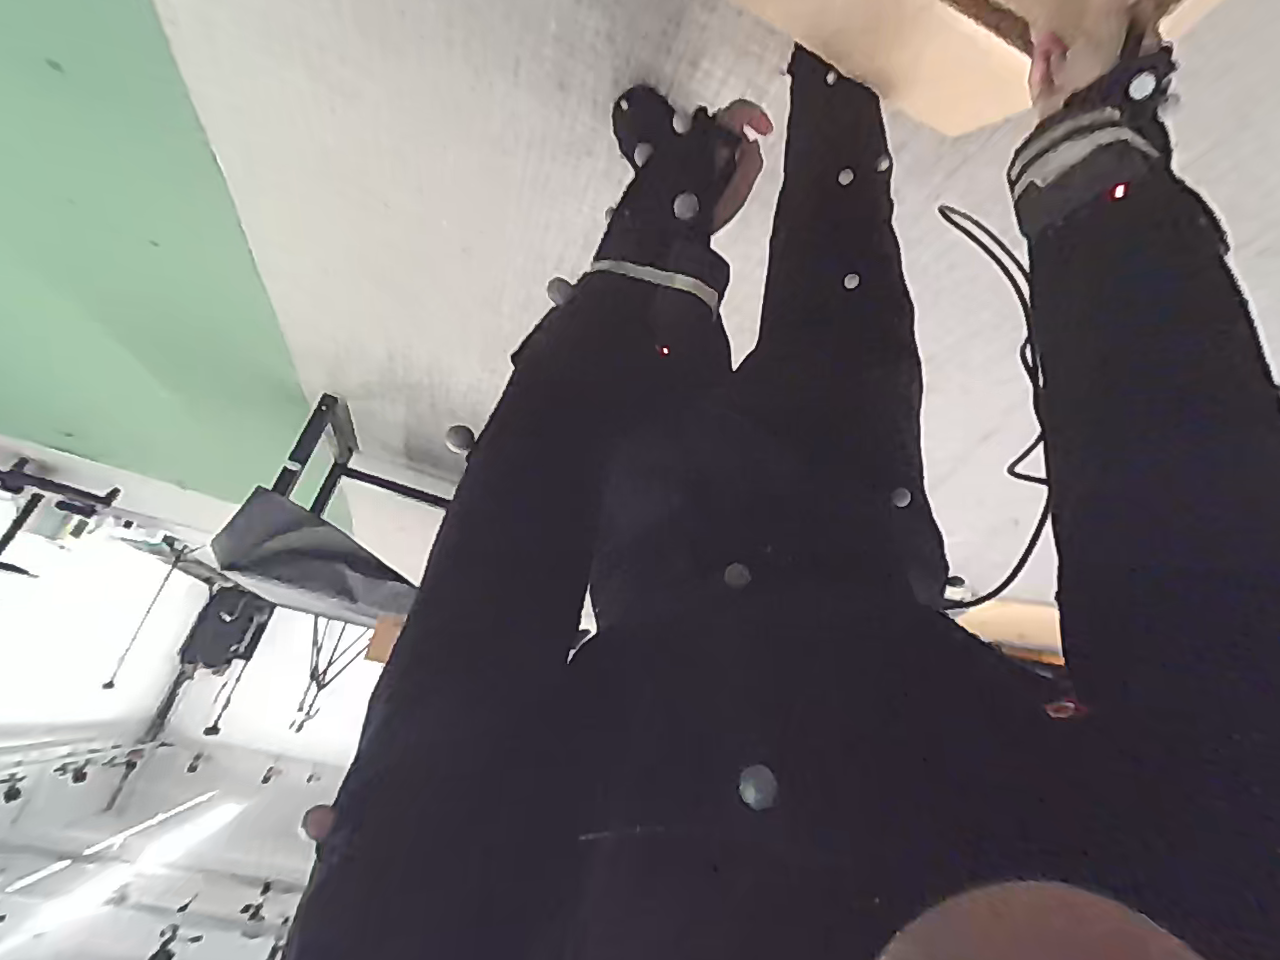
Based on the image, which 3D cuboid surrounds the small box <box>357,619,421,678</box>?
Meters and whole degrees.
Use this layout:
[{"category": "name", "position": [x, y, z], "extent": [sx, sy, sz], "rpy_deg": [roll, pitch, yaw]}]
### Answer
[{"category": "small box", "position": [-0.917, 0.621, 1.984], "extent": [0.168, 0.176, 0.179], "rpy_deg": [20, 153, -17]}]
